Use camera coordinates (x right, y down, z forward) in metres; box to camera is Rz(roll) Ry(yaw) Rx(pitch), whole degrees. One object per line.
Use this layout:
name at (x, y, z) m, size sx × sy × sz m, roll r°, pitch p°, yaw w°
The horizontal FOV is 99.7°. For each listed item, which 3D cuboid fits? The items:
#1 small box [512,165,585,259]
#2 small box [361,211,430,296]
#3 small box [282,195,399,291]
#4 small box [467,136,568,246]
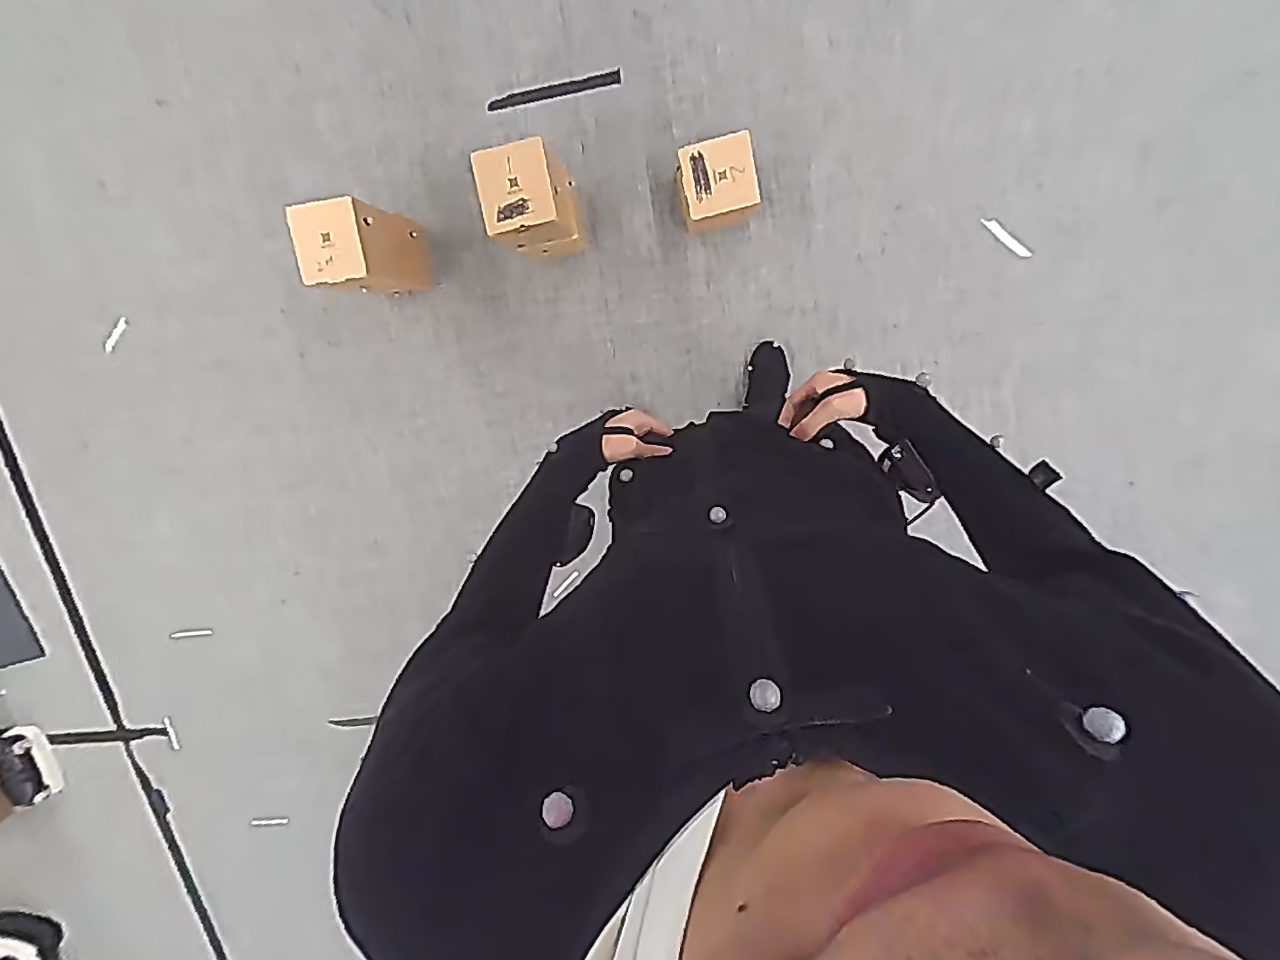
small box at (-0.249, -0.690, 1.416) m, size 0.168 × 0.176 × 0.179 m, roll -10°, pitch 101°, yaw 7°
small box at (-0.696, -0.608, 1.469) m, size 0.168 × 0.176 × 0.179 m, roll -5°, pitch 102°, yaw 6°
small box at (-0.716, -0.566, 1.311) m, size 0.168 × 0.176 × 0.179 m, roll -5°, pitch 103°, yaw 7°
small box at (-0.274, -0.657, 1.256) m, size 0.168 × 0.176 × 0.179 m, roll -10°, pitch 101°, yaw 7°
